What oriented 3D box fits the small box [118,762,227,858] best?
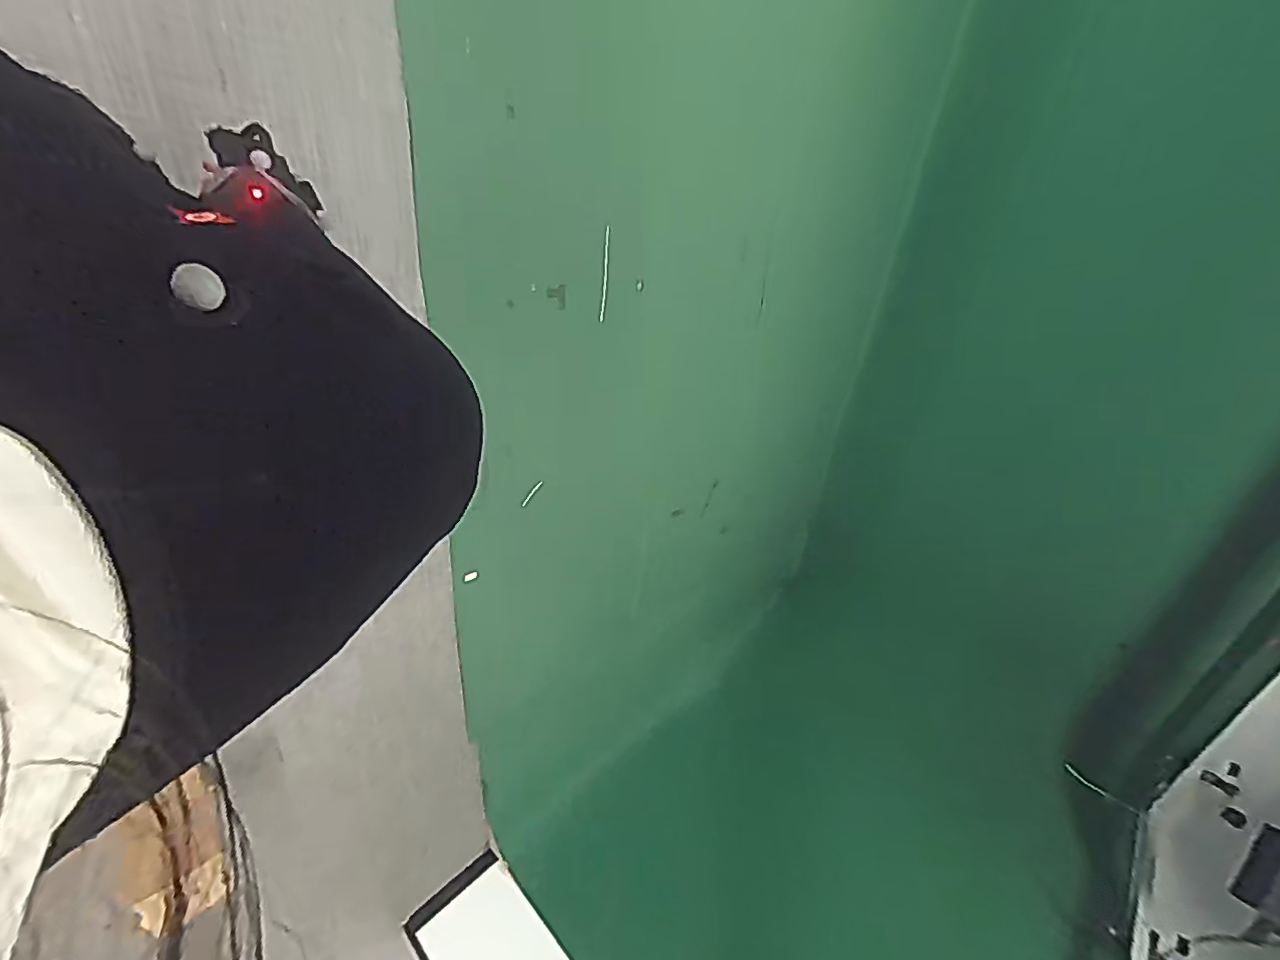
[{"bbox_3d":[-1.247,0.904,1.439,0.179,0.176,0.168,-25,132,-42],"label":"small box"}]

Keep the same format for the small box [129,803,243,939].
[{"bbox_3d":[-1.128,0.959,1.341,0.179,0.176,0.168,-22,129,-42],"label":"small box"}]
